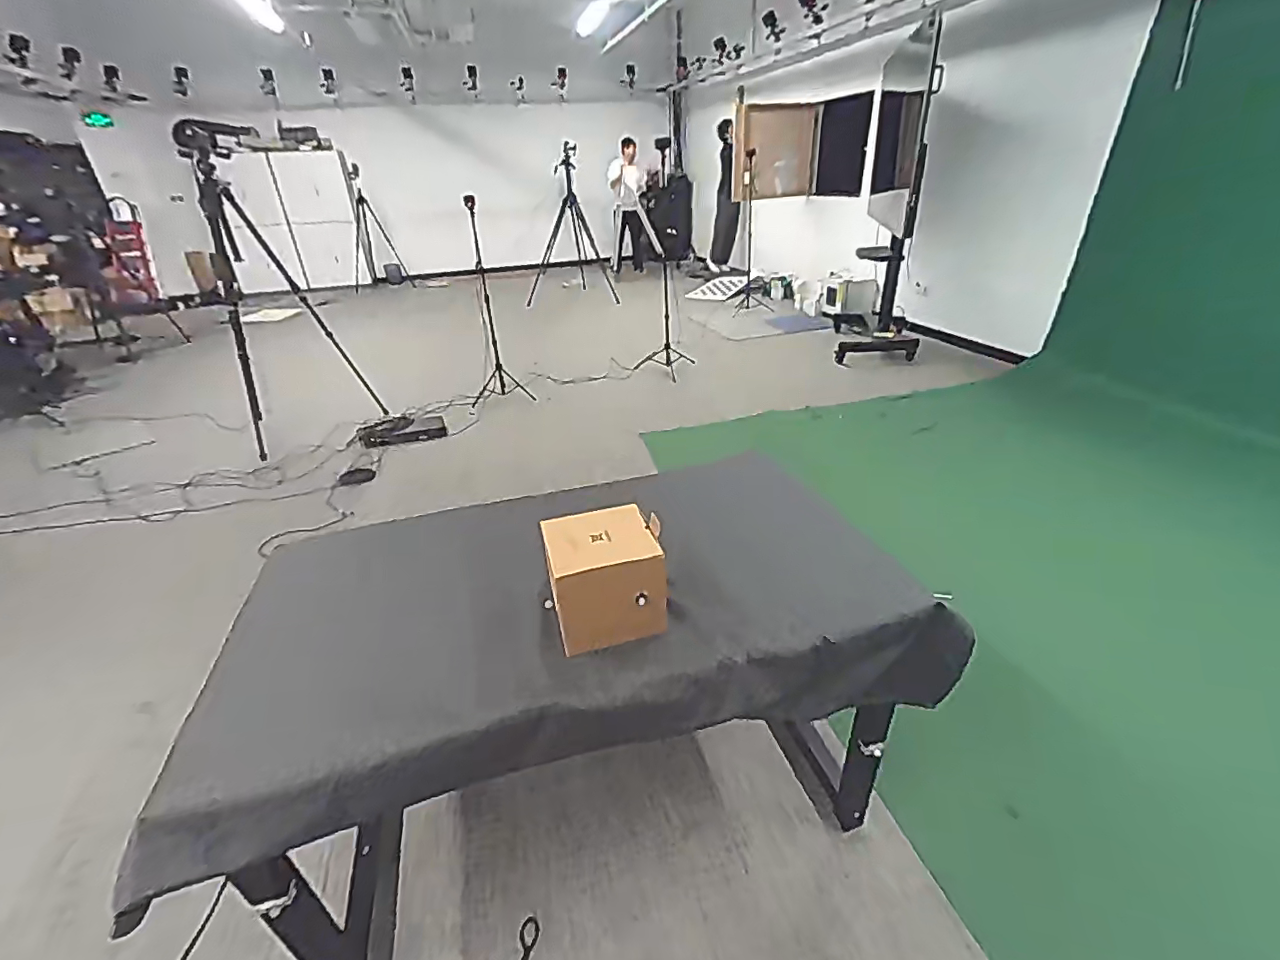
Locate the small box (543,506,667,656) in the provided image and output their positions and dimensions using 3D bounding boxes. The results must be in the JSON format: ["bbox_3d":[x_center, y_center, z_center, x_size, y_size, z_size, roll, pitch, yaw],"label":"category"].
[{"bbox_3d":[-0.059,0.170,0.925,0.179,0.176,0.168,-12,29,-13],"label":"small box"}]
